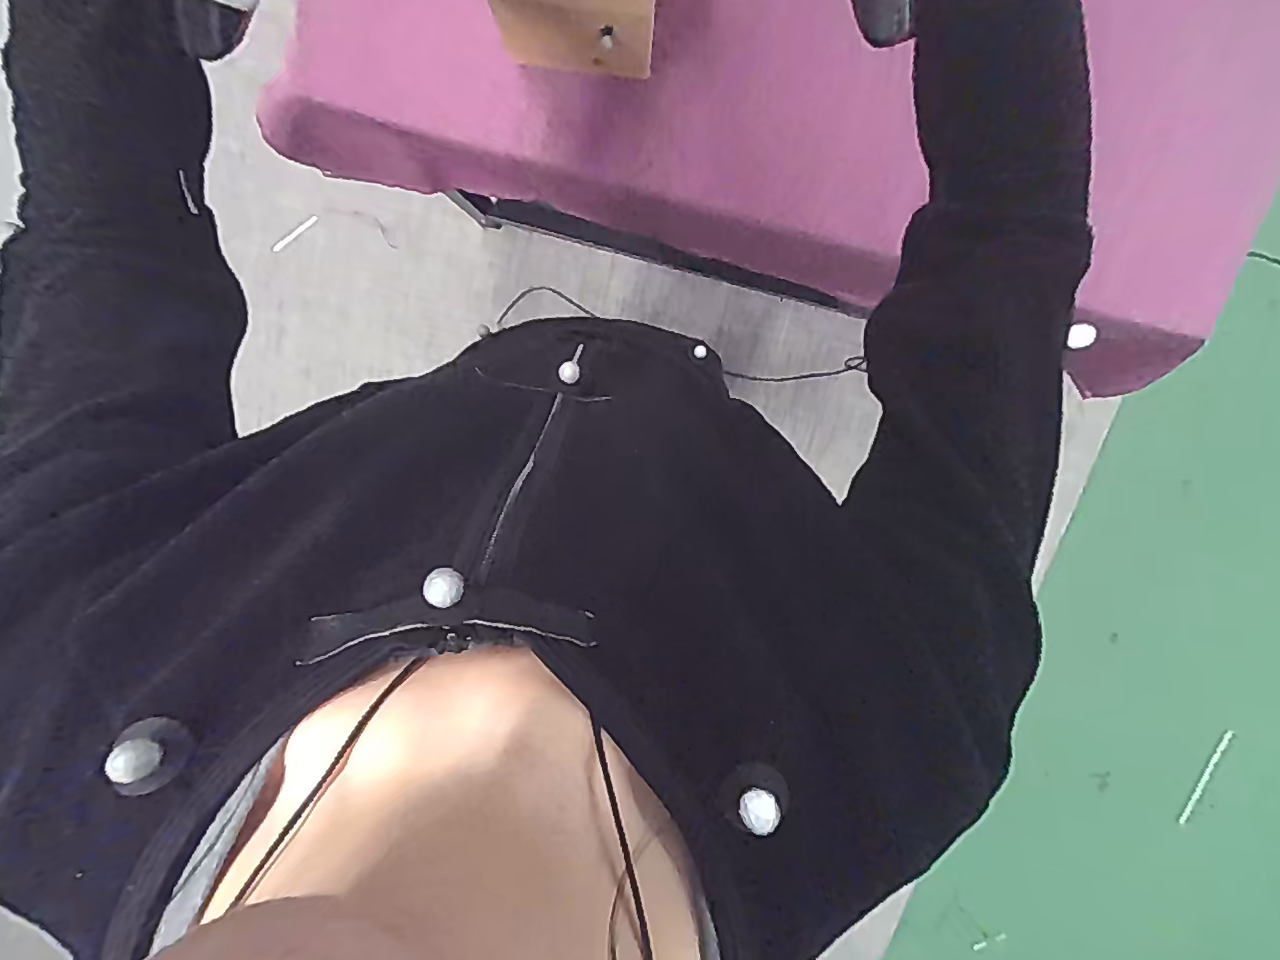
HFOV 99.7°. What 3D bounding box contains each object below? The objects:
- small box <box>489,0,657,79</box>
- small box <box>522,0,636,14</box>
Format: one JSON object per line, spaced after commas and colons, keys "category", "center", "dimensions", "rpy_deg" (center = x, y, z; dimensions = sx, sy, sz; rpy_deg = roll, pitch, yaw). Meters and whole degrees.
{"category": "small box", "center": [-0.060, -0.549, 0.548], "dimensions": [0.168, 0.176, 0.179], "rpy_deg": [7, 102, -3]}
{"category": "small box", "center": [-0.066, -0.487, 0.393], "dimensions": [0.179, 0.176, 0.168], "rpy_deg": [6, 104, -2]}
